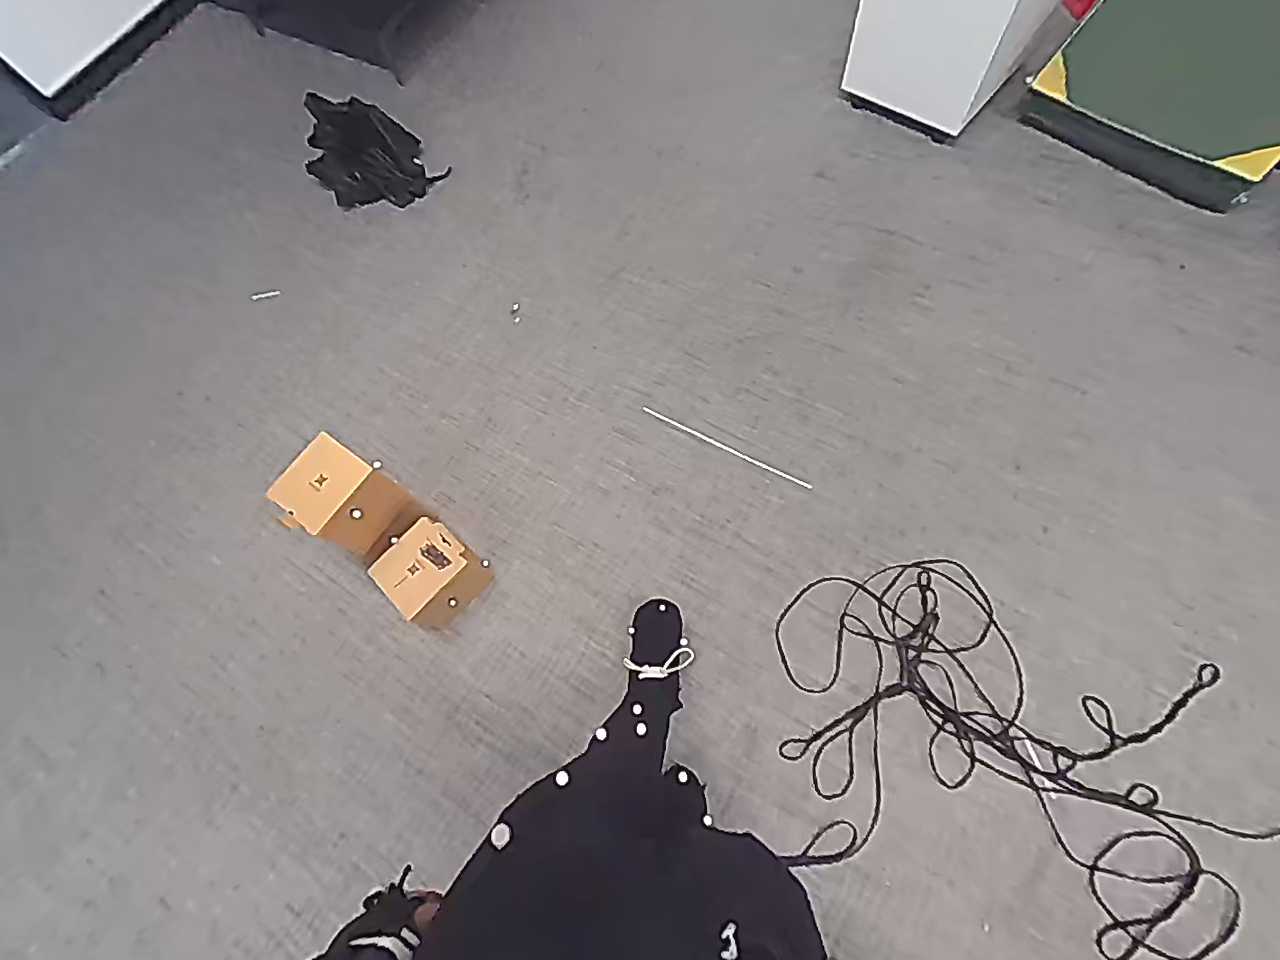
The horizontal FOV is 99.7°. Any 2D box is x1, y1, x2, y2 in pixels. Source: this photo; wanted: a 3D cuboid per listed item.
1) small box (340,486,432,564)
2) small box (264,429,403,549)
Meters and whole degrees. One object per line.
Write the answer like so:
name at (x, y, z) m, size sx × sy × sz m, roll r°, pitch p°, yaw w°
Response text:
small box at (-0.653, 0.086, 1.335) m, size 0.168 × 0.176 × 0.179 m, roll 32°, pitch 77°, yaw 16°
small box at (-0.652, 0.024, 1.183) m, size 0.168 × 0.176 × 0.179 m, roll 32°, pitch 77°, yaw 16°
